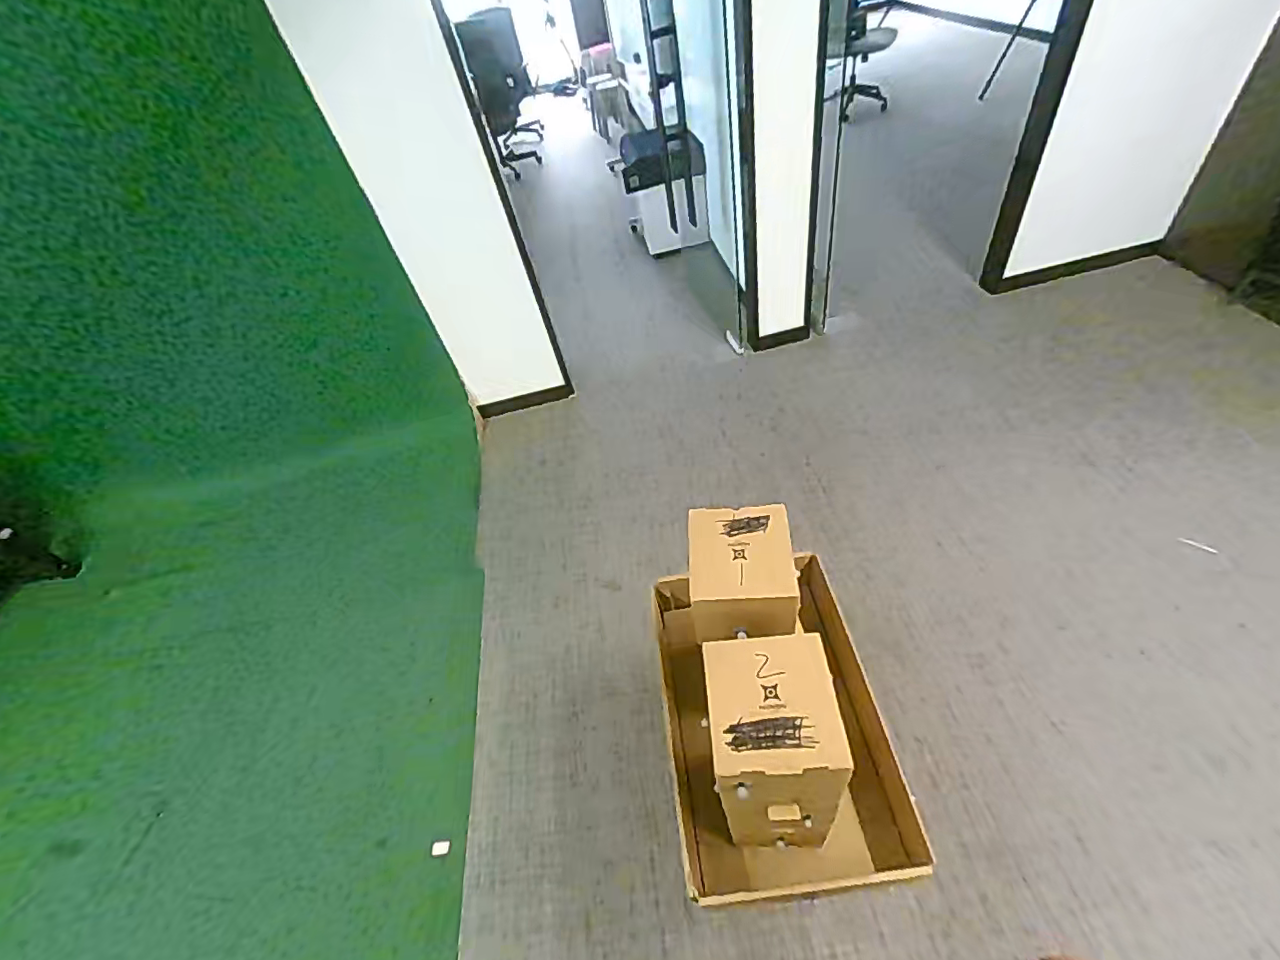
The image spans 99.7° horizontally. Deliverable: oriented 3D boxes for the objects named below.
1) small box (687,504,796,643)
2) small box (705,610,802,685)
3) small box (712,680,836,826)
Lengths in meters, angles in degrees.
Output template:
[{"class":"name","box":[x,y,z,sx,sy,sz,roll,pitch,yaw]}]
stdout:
[{"class":"small box","box":[0.169,0.161,0.926,0.168,0.176,0.179,-4,50,9]},{"class":"small box","box":[0.202,0.271,1.044,0.168,0.176,0.179,-11,48,3]},{"class":"small box","box":[0.210,0.446,0.875,0.168,0.176,0.179,-6,46,7]}]
